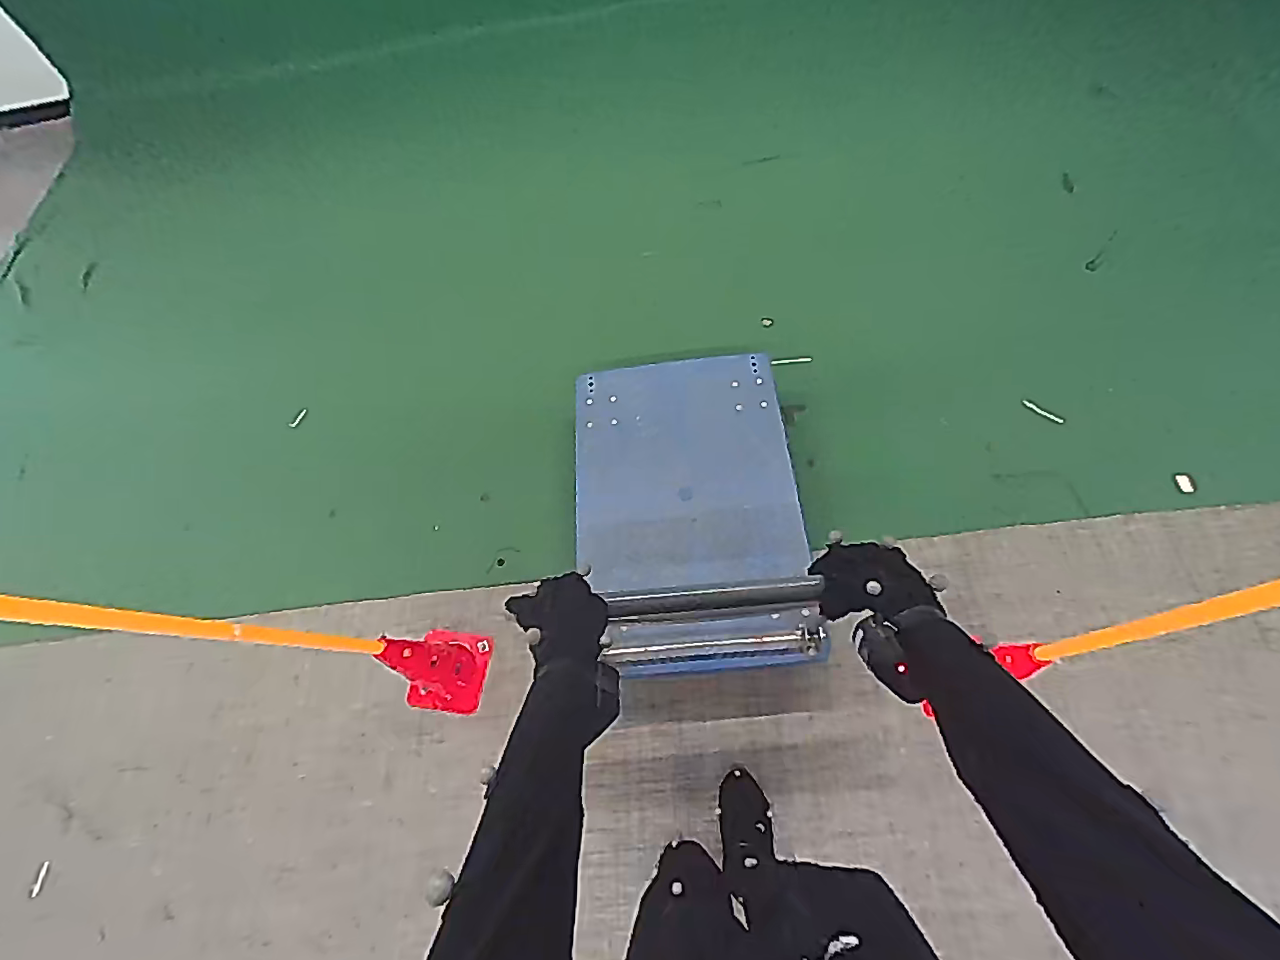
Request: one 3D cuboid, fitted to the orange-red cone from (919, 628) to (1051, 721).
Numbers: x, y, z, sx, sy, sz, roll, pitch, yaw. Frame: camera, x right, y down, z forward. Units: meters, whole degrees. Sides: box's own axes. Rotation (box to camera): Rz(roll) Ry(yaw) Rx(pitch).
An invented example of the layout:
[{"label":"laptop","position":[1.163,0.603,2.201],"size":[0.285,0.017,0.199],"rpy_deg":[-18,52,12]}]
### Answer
[{"label":"orange-red cone","position":[0.758,0.388,1.146],"size":[0.198,0.360,0.199],"rpy_deg":[3,65,10]}]
